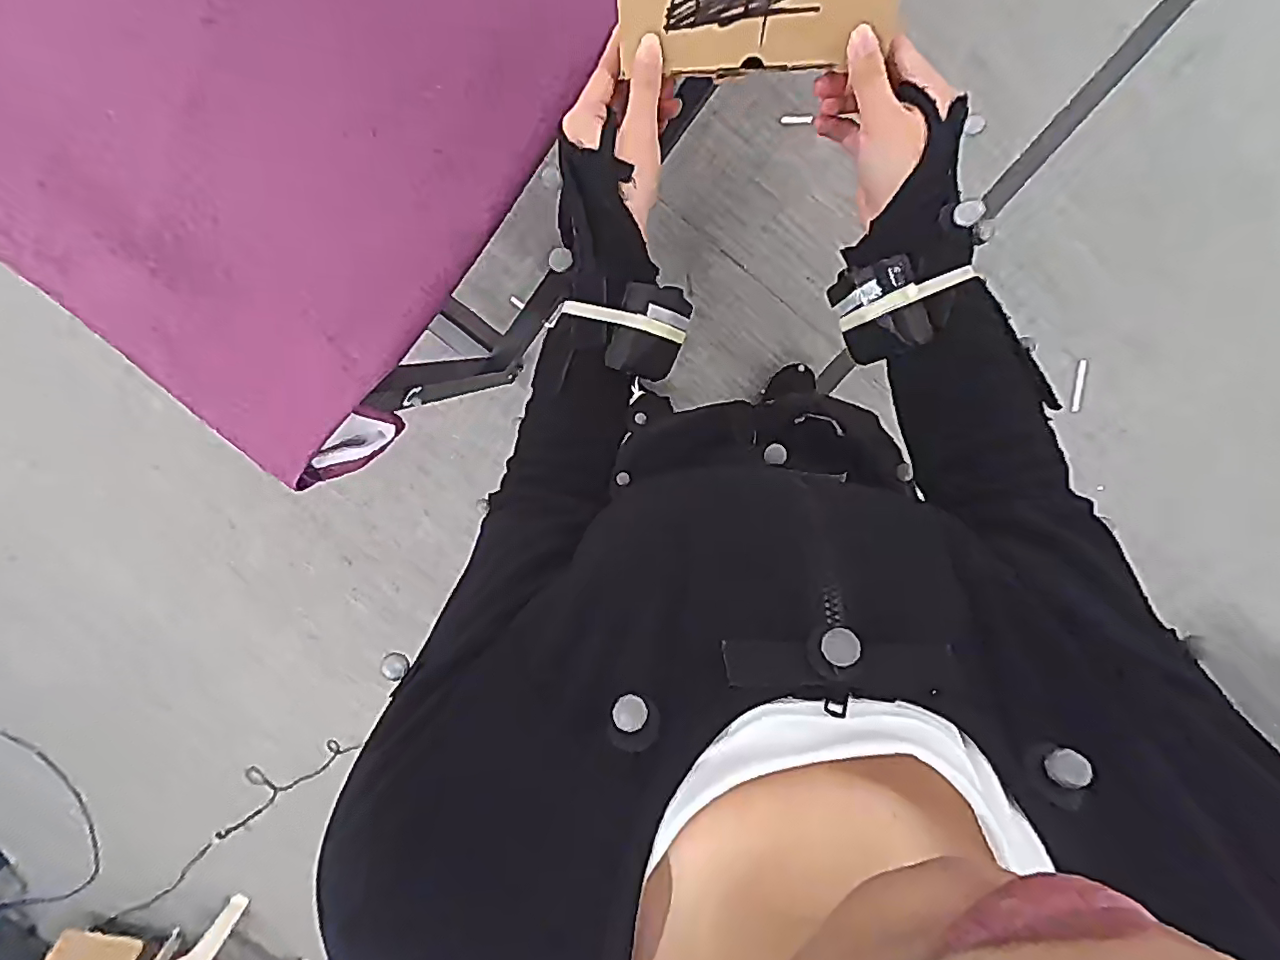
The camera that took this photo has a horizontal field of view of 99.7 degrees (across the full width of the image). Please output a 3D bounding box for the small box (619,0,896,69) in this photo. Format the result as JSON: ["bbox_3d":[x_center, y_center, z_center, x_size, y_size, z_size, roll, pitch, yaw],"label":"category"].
[{"bbox_3d":[0.072,-0.378,0.349,0.168,0.176,0.179,0,126,3],"label":"small box"}]
